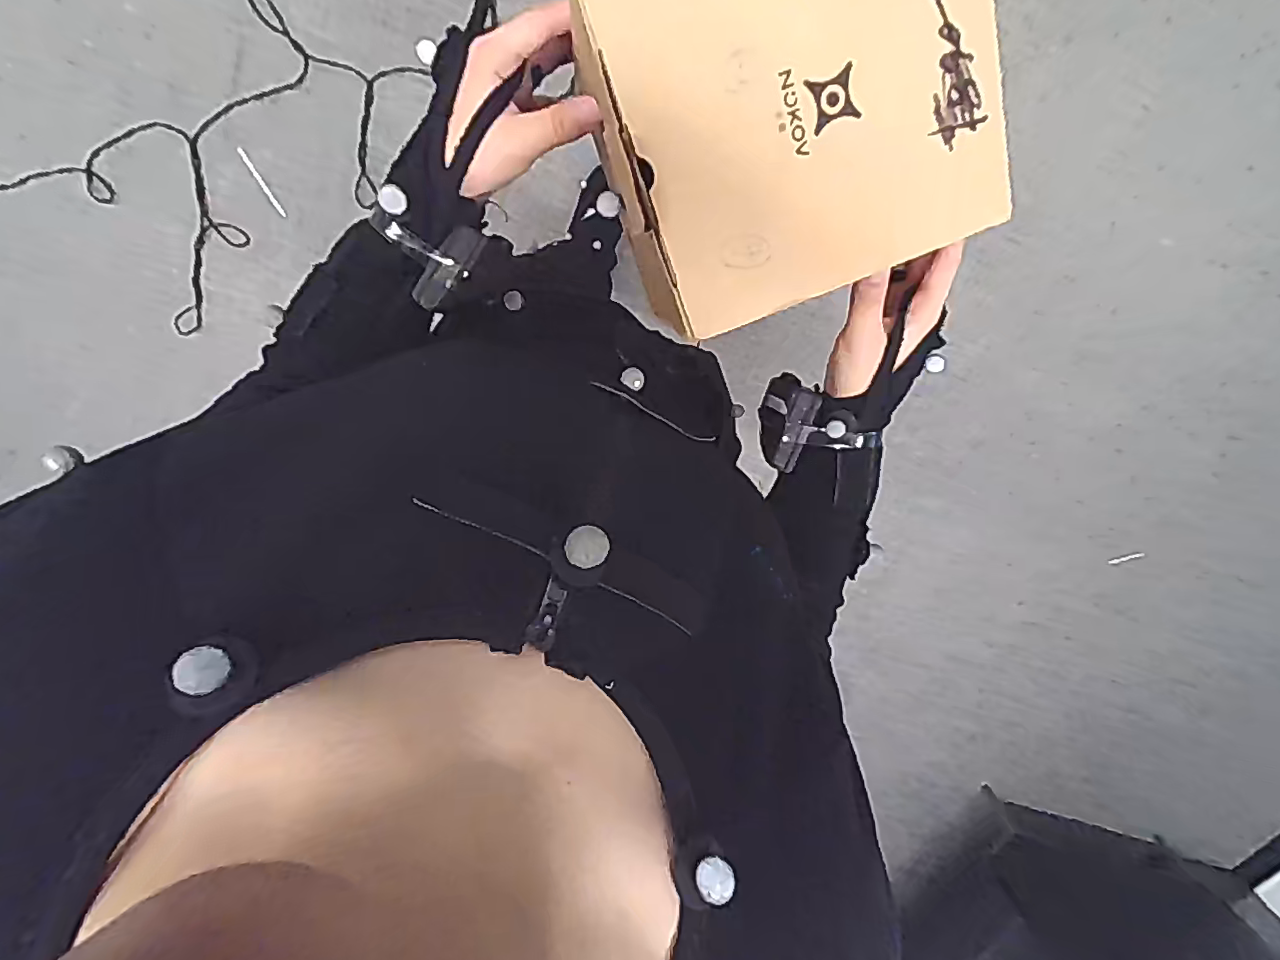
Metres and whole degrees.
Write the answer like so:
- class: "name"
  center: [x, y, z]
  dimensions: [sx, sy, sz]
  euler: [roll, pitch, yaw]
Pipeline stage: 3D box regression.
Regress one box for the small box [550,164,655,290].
- class: "small box"
  center: [-0.075, -0.526, 1.139]
  dimensions: [0.168, 0.176, 0.179]
  euler: [-28, 103, 8]
